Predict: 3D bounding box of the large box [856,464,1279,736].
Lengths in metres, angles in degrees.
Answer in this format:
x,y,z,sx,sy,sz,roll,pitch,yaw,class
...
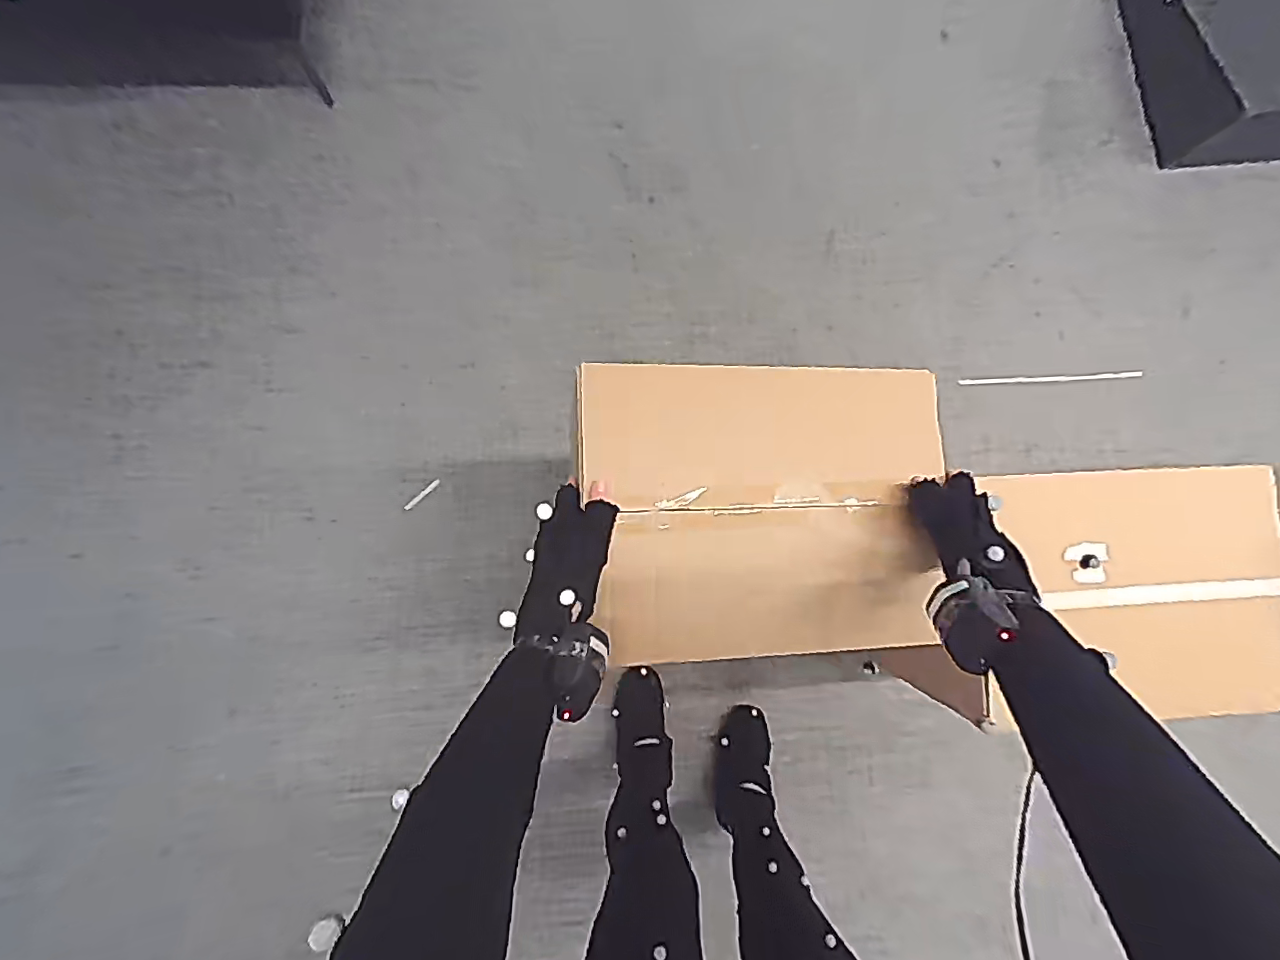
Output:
x,y,z,sx,sy,sz,roll,pitch,yaw,class
0.590,0.148,0.809,0.408,0.320,0.320,-2,87,-3,large box
